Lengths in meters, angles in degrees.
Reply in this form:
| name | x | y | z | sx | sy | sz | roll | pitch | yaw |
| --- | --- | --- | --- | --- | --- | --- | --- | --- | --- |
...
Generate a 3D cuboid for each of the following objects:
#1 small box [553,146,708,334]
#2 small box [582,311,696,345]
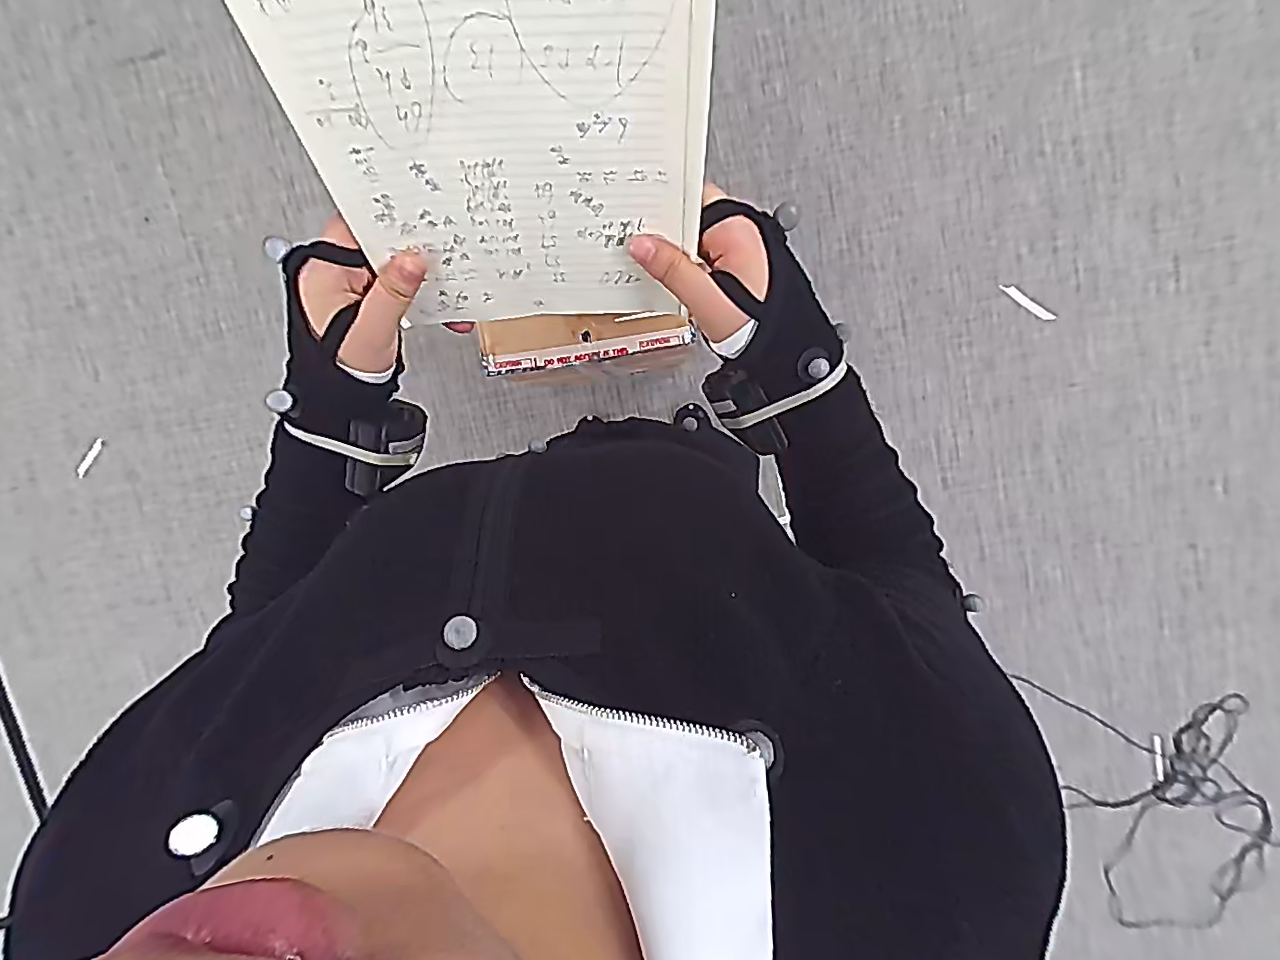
| name | x | y | z | sx | sy | sz | roll | pitch | yaw |
| --- | --- | --- | --- | --- | --- | --- | --- | --- | --- |
| small box | -0.012 | -0.305 | 0.723 | 0.168 | 0.176 | 0.179 | -10 | 99 | 1 |
| small box | -0.015 | -0.327 | 0.886 | 0.179 | 0.176 | 0.168 | -13 | 98 | 2 |
